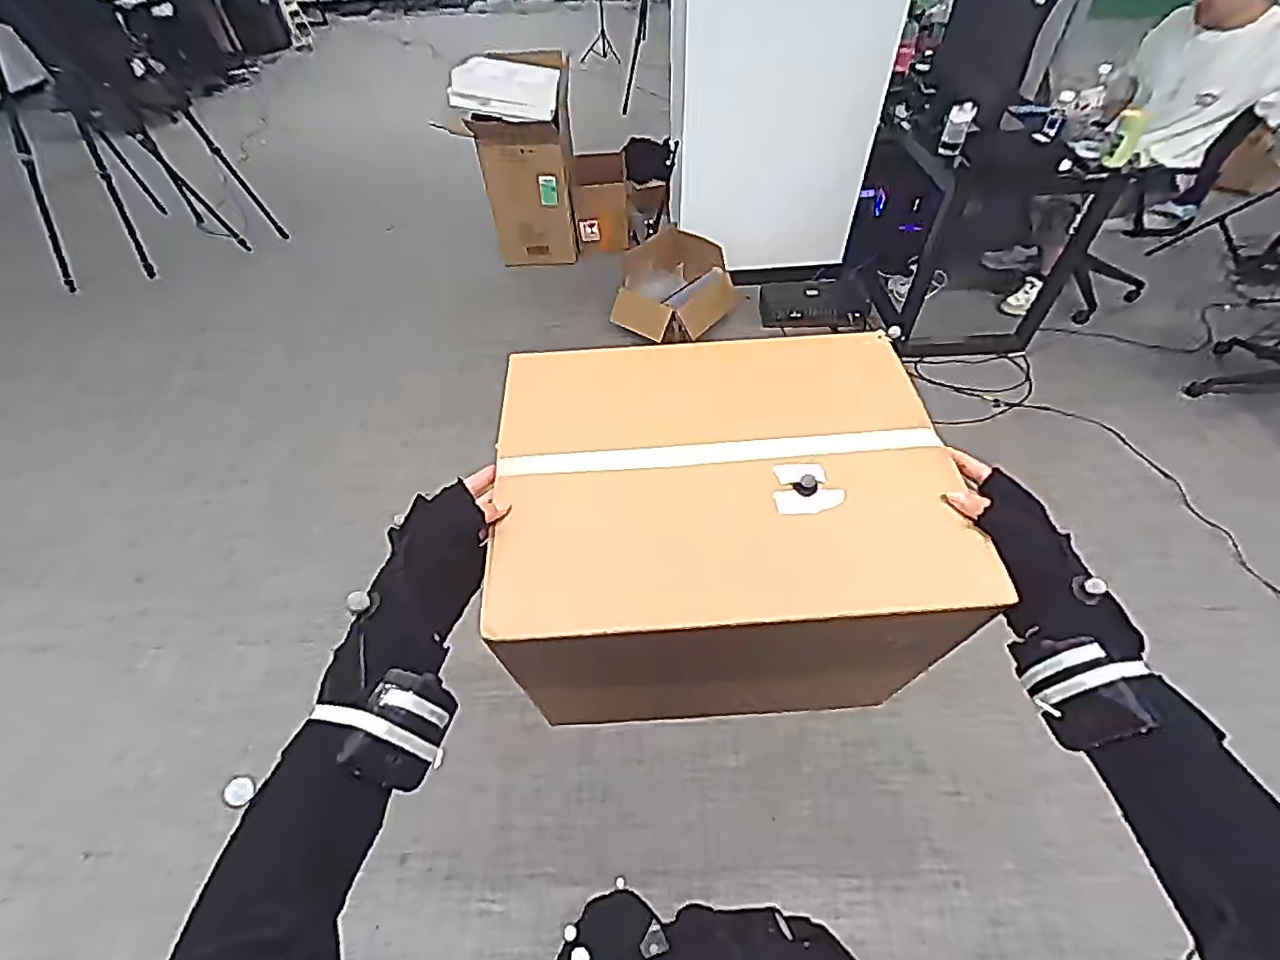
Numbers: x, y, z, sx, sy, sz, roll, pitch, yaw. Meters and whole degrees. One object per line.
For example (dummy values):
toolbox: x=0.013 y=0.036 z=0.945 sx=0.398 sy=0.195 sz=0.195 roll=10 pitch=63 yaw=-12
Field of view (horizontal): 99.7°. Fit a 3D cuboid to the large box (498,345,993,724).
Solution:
large box: x=0.077 y=0.073 z=0.630 sx=0.408 sy=0.320 sz=0.320 roll=-3 pitch=55 yaw=-1
